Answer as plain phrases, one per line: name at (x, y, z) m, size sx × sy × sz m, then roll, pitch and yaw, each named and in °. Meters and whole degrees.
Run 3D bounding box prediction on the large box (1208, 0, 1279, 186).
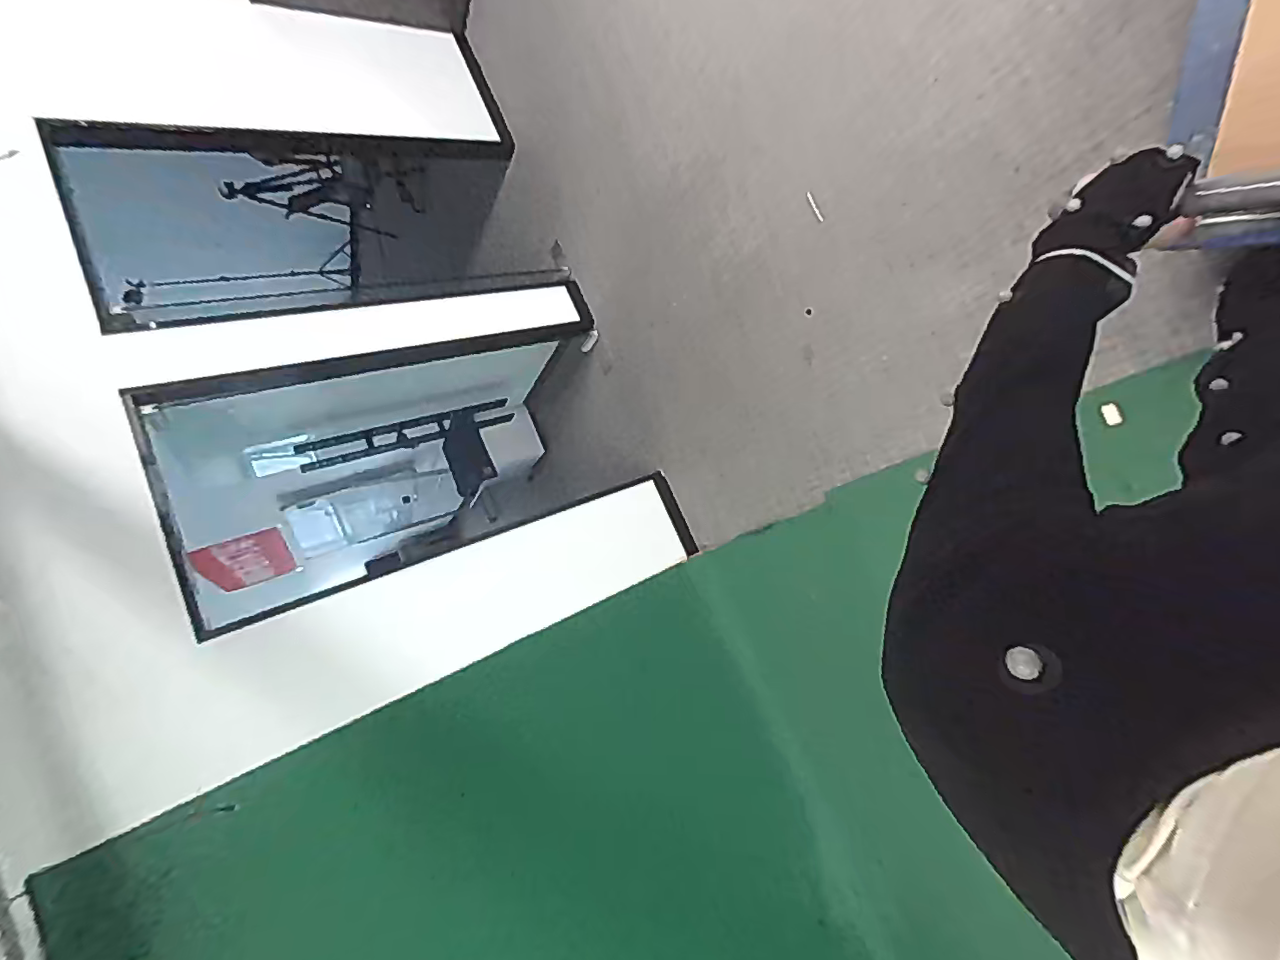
large box at (1.015, -0.623, 0.677) m, size 0.320 × 0.320 × 0.408 m, roll 22°, pitch 123°, yaw 50°
